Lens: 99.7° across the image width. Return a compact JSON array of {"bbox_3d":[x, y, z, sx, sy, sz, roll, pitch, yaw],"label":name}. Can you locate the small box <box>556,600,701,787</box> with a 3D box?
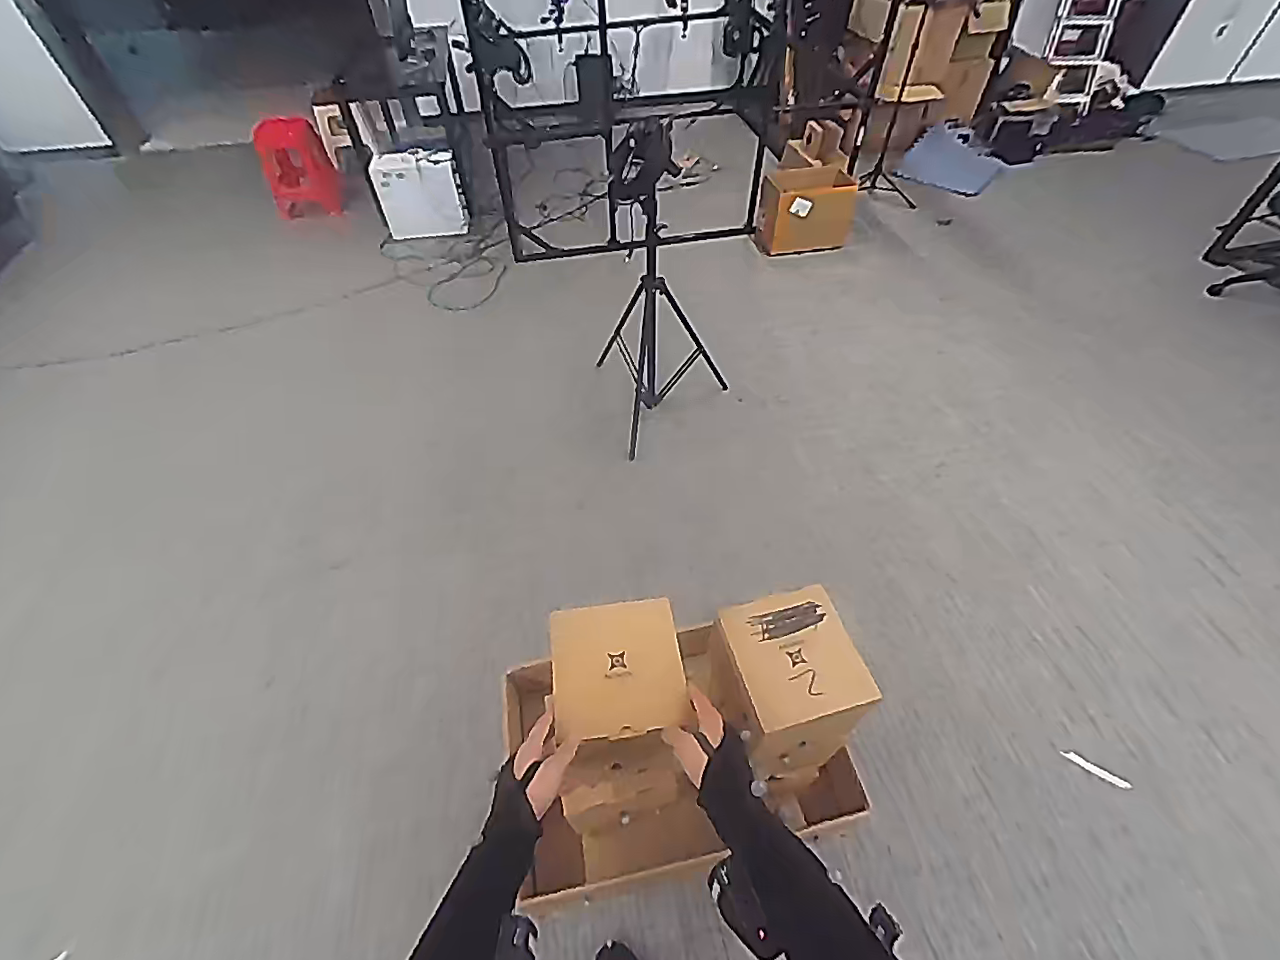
[{"bbox_3d":[-0.024,0.289,0.735,0.168,0.176,0.179,-6,48,-7],"label":"small box"}]

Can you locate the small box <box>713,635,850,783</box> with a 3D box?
[{"bbox_3d":[0.226,0.390,0.920,0.168,0.176,0.179,-8,50,-5],"label":"small box"}]

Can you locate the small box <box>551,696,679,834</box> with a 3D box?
[{"bbox_3d":[-0.043,0.447,0.885,0.168,0.176,0.179,-13,51,-10],"label":"small box"}]
